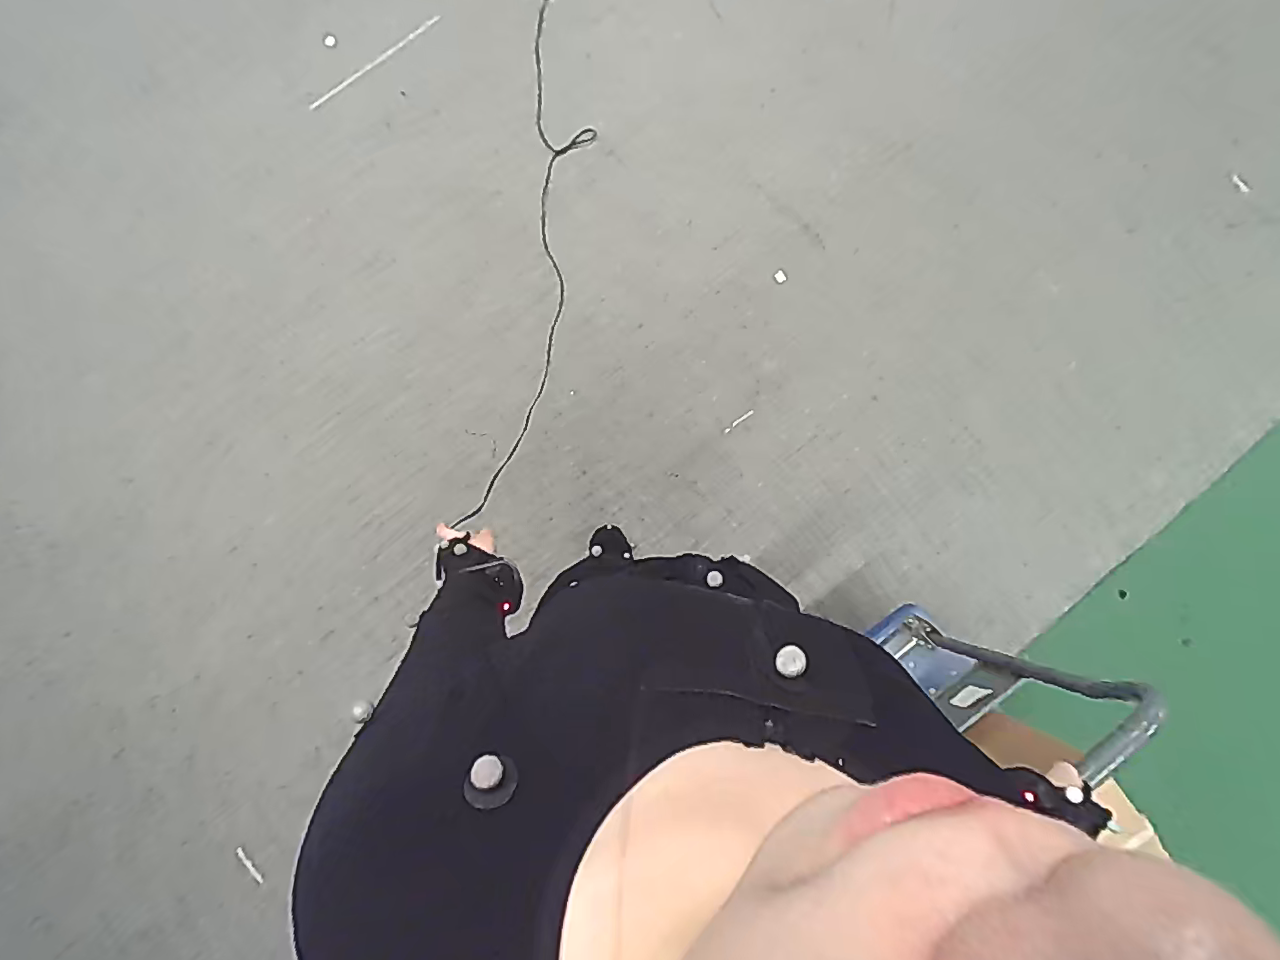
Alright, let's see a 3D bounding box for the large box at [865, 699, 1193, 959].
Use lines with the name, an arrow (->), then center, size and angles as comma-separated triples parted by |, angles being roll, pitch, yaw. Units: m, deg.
large box -> 0.781, 0.749, 1.146 | 0.408, 0.320, 0.320 | -35, 86, -3
